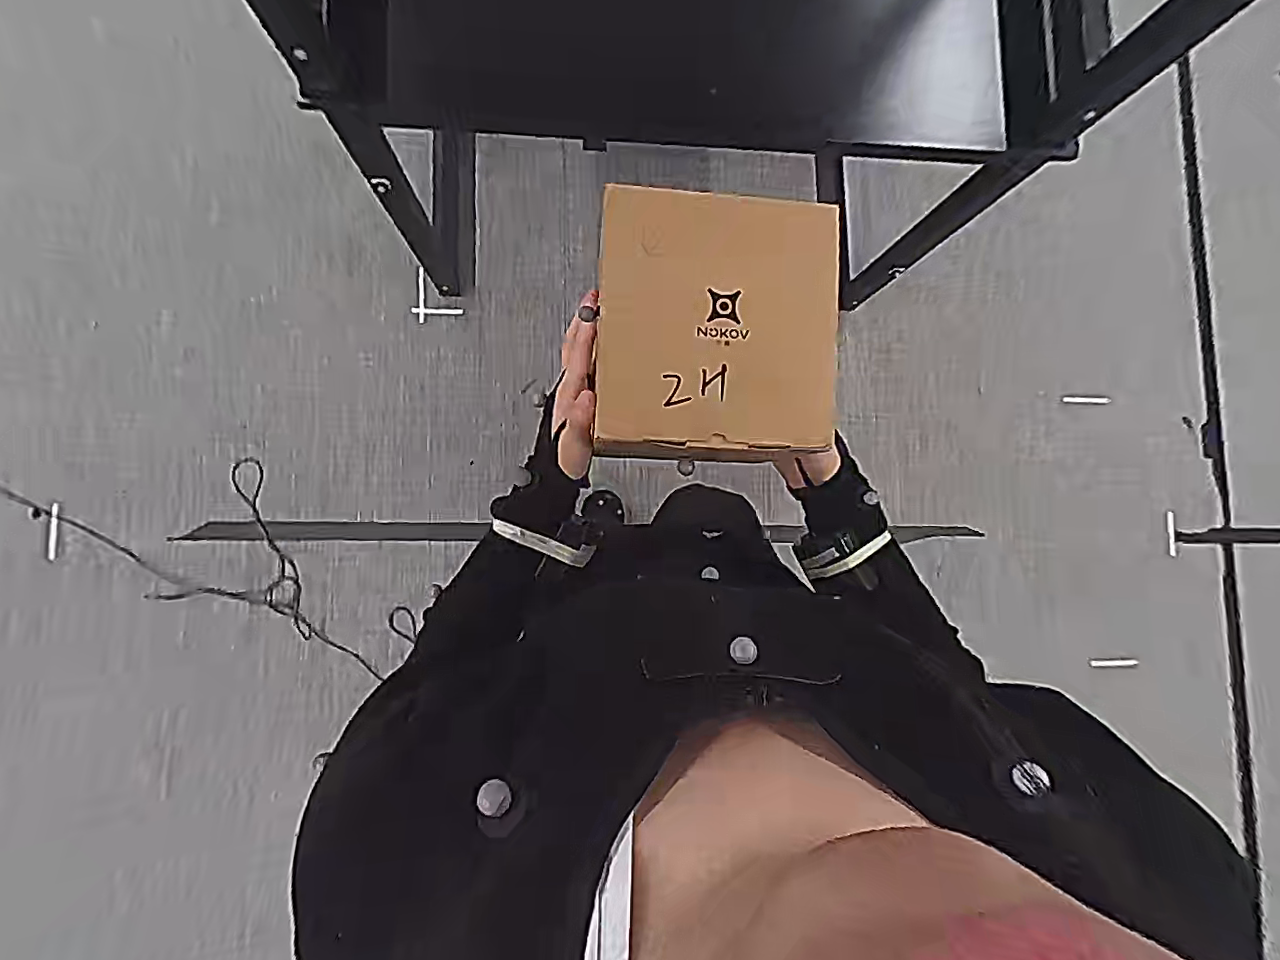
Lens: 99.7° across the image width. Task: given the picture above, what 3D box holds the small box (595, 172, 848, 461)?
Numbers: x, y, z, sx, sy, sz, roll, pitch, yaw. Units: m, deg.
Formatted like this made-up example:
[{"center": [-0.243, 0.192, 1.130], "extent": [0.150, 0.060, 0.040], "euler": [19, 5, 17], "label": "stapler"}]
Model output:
[{"center": [0.051, -0.111, 0.441], "extent": [0.168, 0.176, 0.179], "euler": [3, 89, -6], "label": "small box"}]
